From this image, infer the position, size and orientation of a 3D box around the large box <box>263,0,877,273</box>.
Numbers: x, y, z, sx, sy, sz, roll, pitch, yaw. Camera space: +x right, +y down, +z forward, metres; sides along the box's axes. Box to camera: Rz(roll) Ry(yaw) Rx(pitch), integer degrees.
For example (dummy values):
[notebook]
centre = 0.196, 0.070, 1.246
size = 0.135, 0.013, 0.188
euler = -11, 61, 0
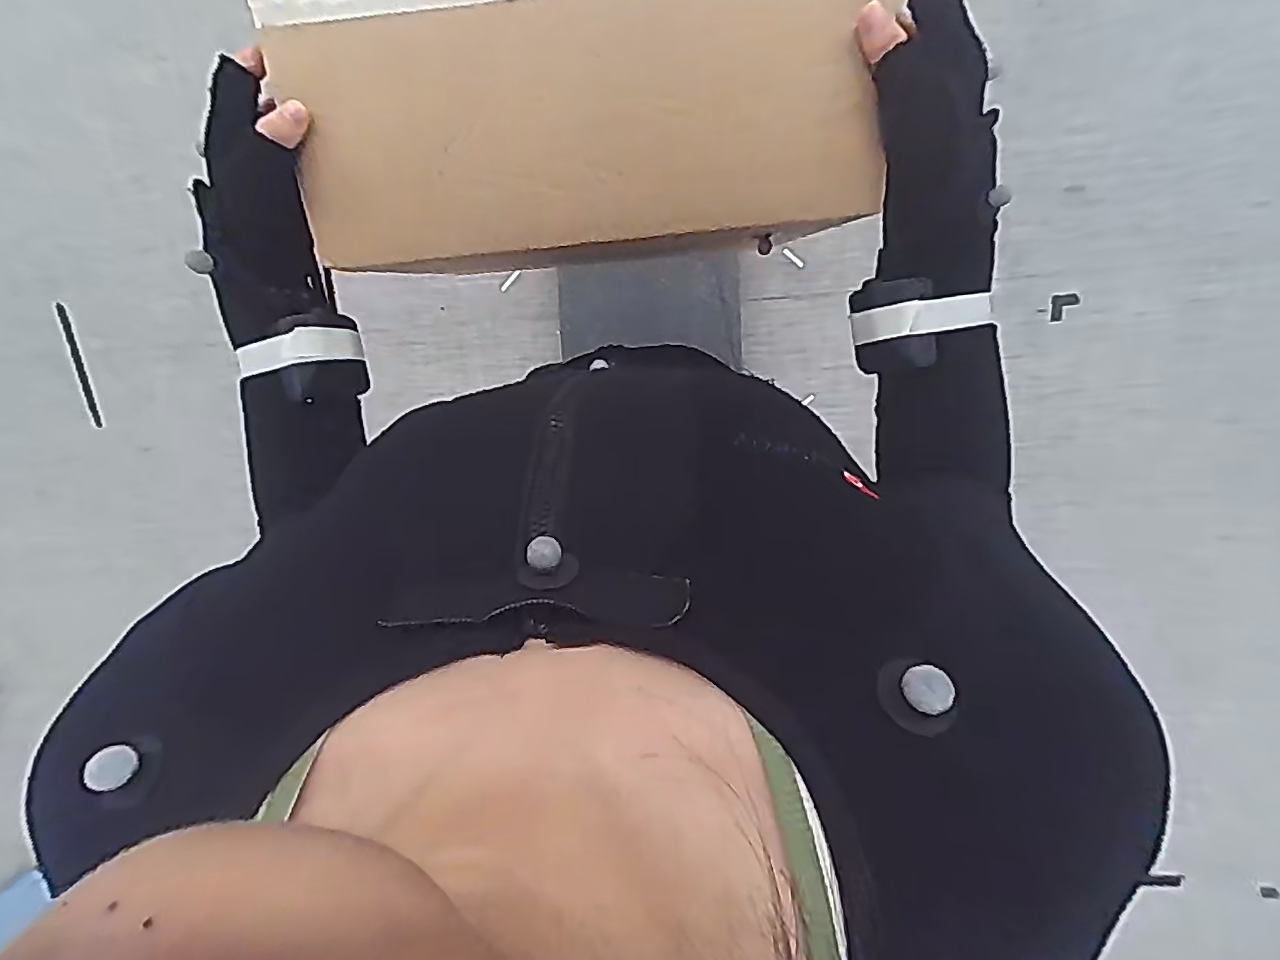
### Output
[large box]
centre = -0.044, -0.370, 0.485
size = 0.408, 0.320, 0.320
euler = -5, 109, 2
